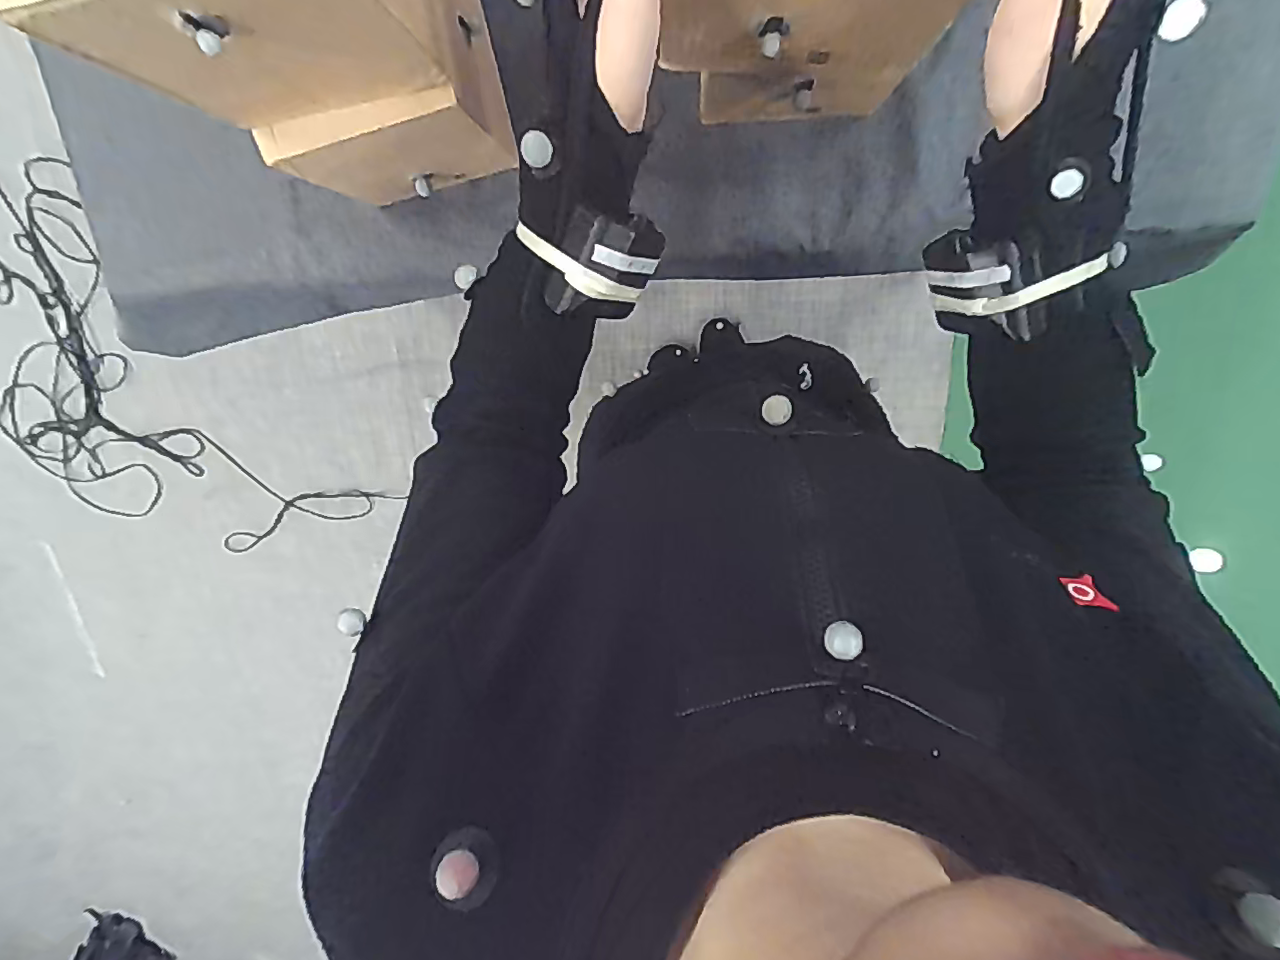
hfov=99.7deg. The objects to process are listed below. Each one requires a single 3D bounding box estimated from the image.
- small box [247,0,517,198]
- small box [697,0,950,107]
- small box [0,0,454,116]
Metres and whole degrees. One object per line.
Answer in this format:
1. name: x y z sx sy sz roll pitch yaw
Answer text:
1. small box: -0.224 -0.368 0.461 0.168 0.176 0.179 -12 106 8
2. small box: 0.130 -0.415 0.420 0.168 0.176 0.179 -1 107 5
3. small box: -0.233 -0.333 0.301 0.179 0.176 0.168 -7 107 6
